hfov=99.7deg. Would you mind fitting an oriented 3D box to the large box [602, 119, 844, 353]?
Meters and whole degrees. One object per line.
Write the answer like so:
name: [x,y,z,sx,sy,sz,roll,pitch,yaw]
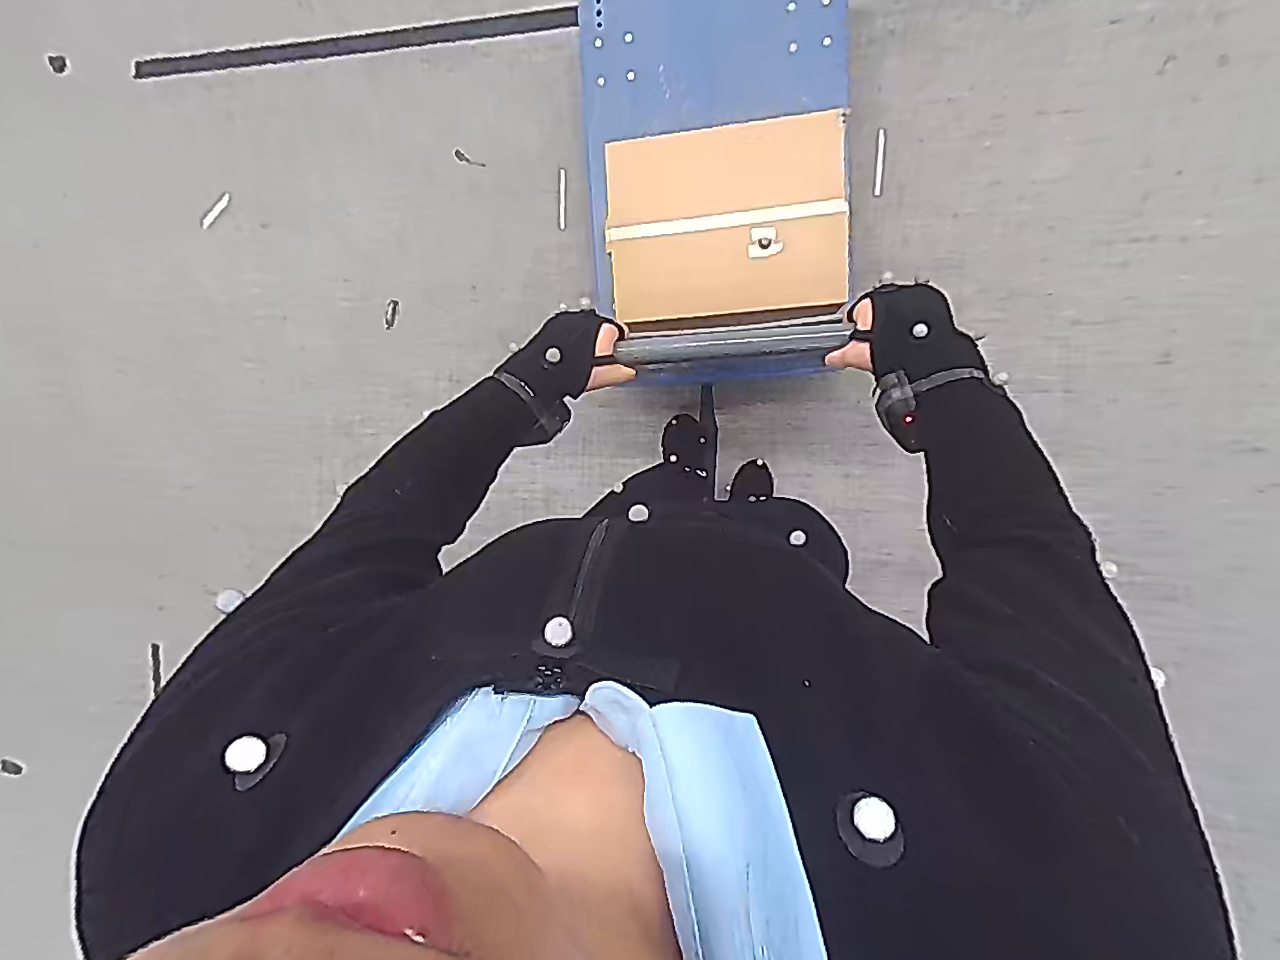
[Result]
large box: [0.158,-0.445,1.078,0.408,0.320,0.320,-3,96,8]
